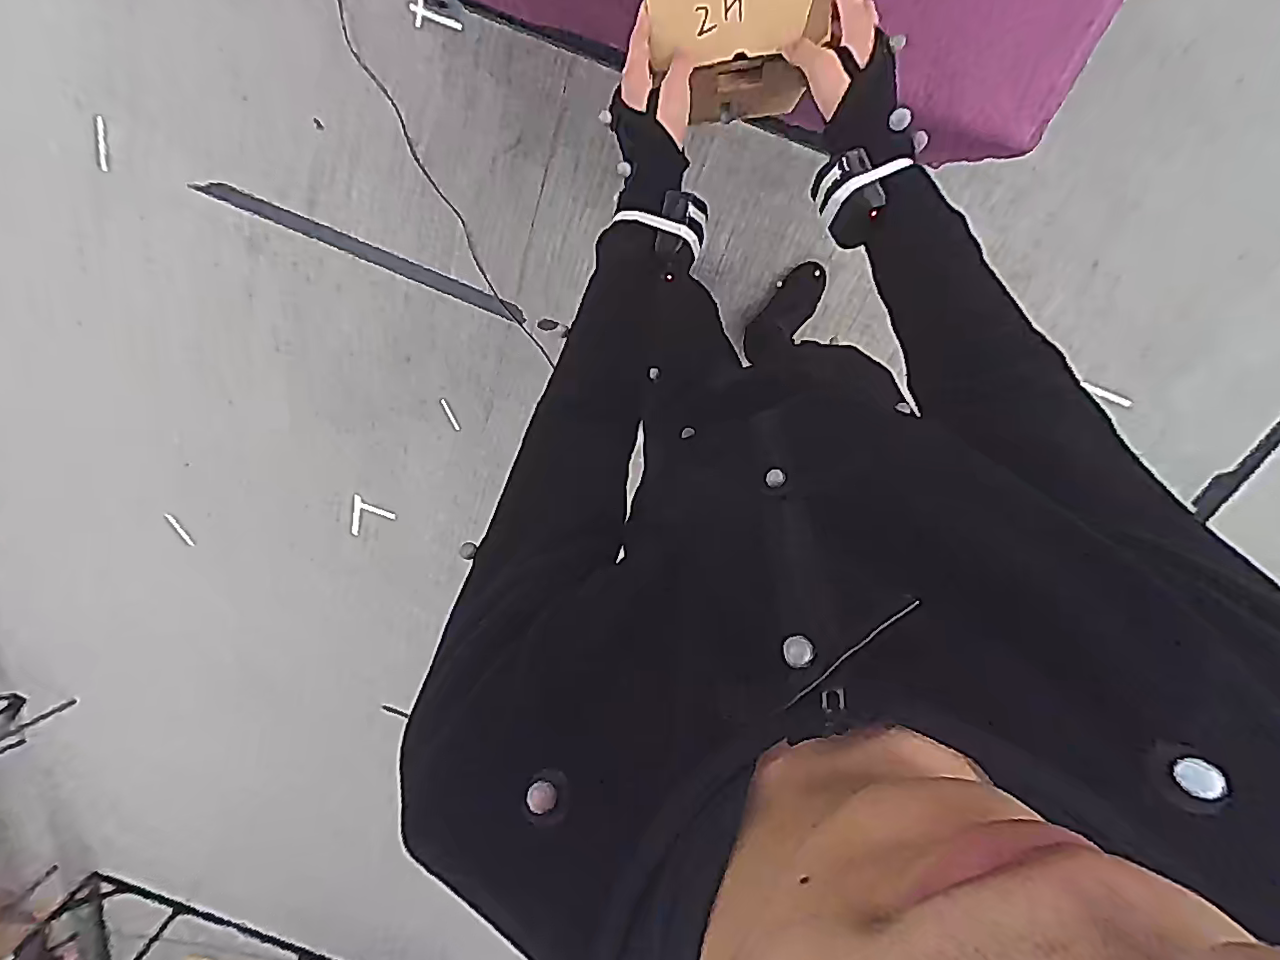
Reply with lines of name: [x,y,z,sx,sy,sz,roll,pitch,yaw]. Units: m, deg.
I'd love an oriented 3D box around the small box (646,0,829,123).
small box: [0.089,-0.500,0.556,0.168,0.176,0.179,-4,108,4]
